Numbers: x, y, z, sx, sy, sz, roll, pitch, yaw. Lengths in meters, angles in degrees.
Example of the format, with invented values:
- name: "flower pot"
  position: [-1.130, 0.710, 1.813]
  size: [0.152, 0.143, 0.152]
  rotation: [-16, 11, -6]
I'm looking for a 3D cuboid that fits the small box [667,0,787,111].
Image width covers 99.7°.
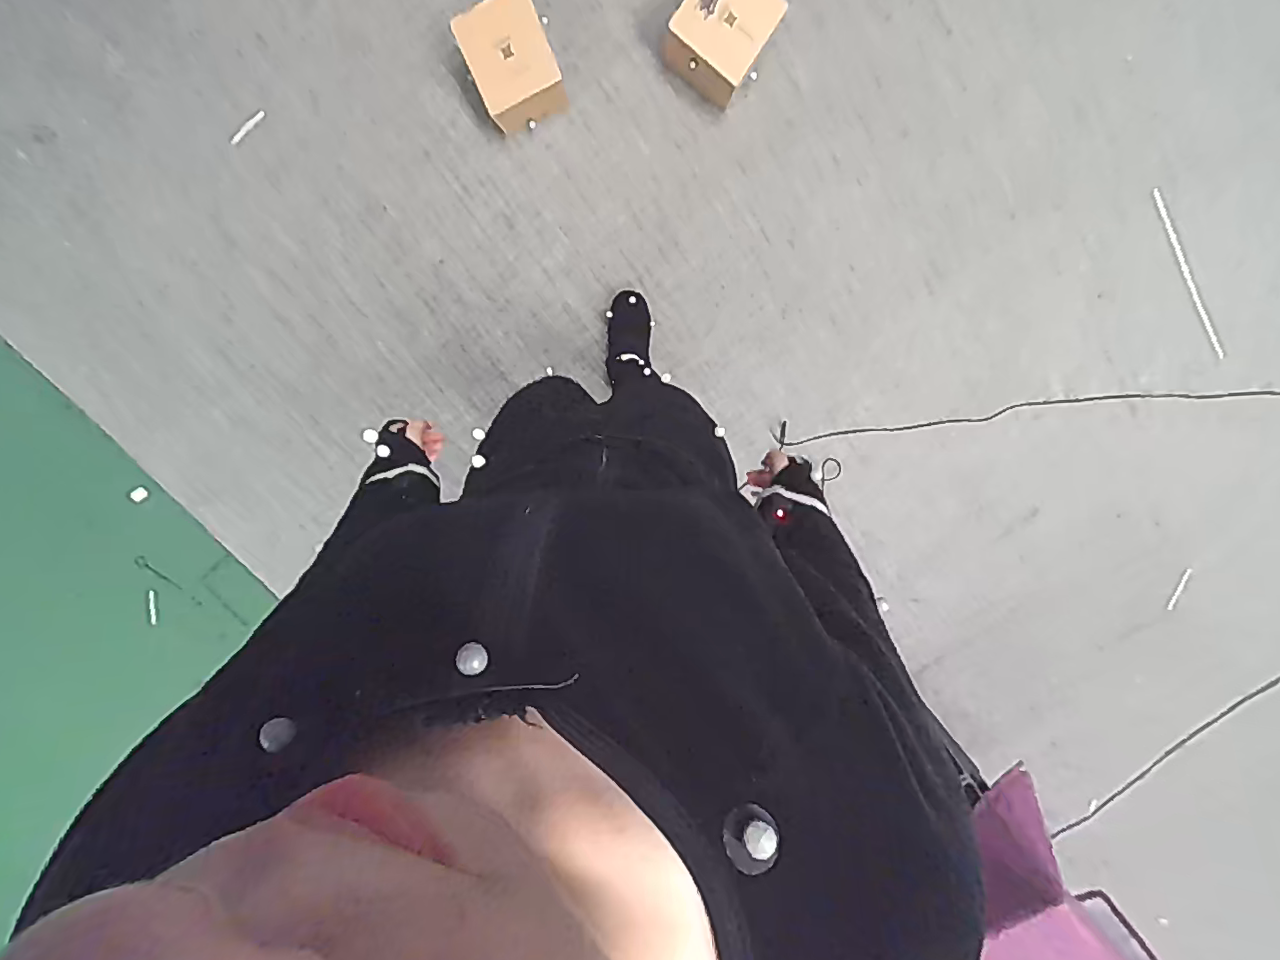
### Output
- name: "small box"
  position: [0.169, -0.913, 1.122]
  size: [0.179, 0.176, 0.168]
  rotation: [34, 106, -11]

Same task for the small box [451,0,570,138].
- name: "small box"
  position: [-0.262, -0.865, 1.137]
  size: [0.168, 0.176, 0.179]
  rotation: [-21, 107, 7]
